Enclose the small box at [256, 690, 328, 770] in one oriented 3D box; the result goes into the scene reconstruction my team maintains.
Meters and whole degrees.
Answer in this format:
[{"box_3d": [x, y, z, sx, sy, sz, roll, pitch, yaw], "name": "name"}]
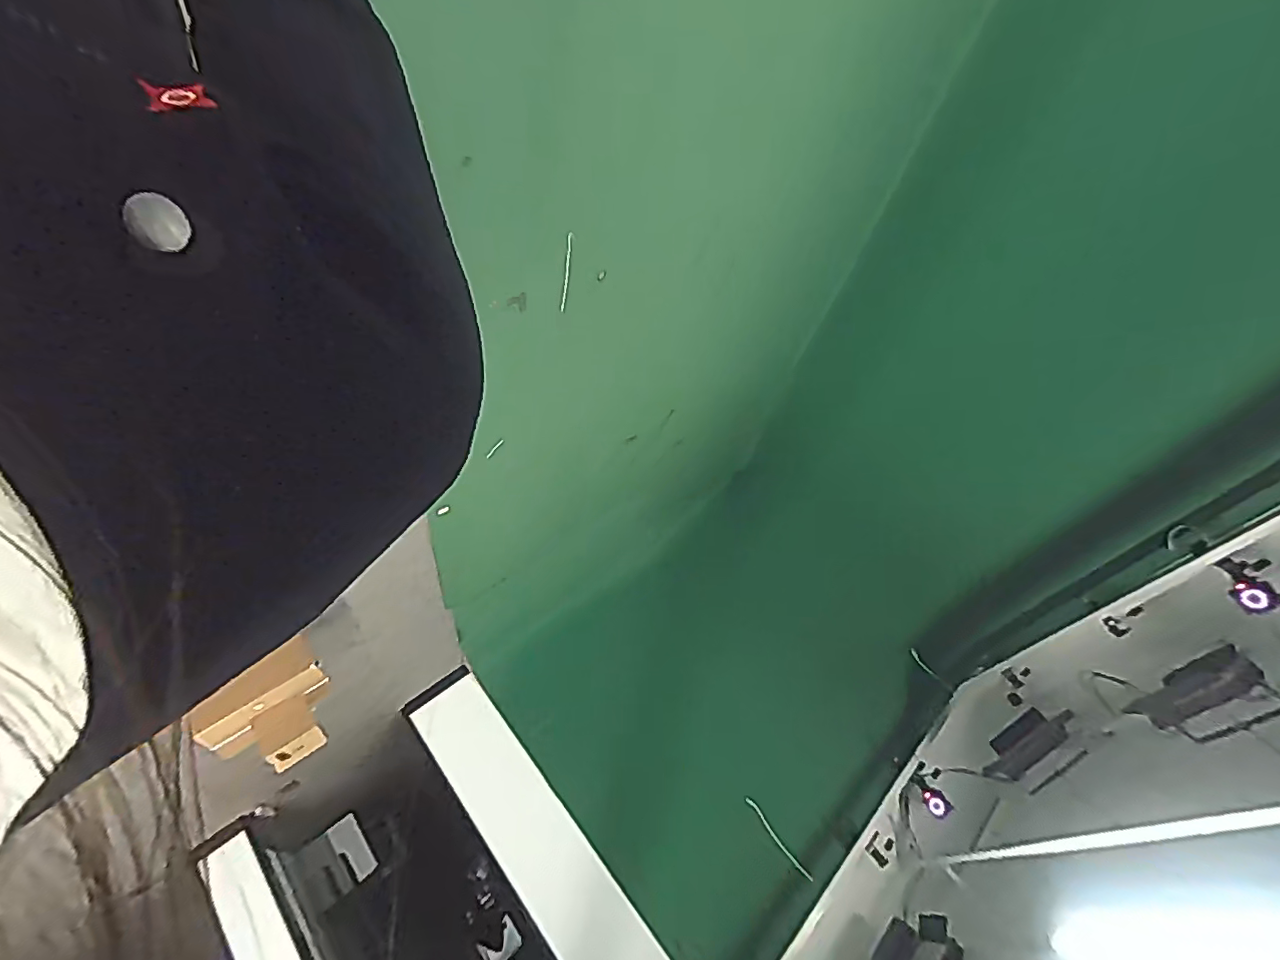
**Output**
[{"box_3d": [-1.305, 0.931, 2.022, 0.179, 0.176, 0.168, -28, 148, -38], "name": "small box"}]
